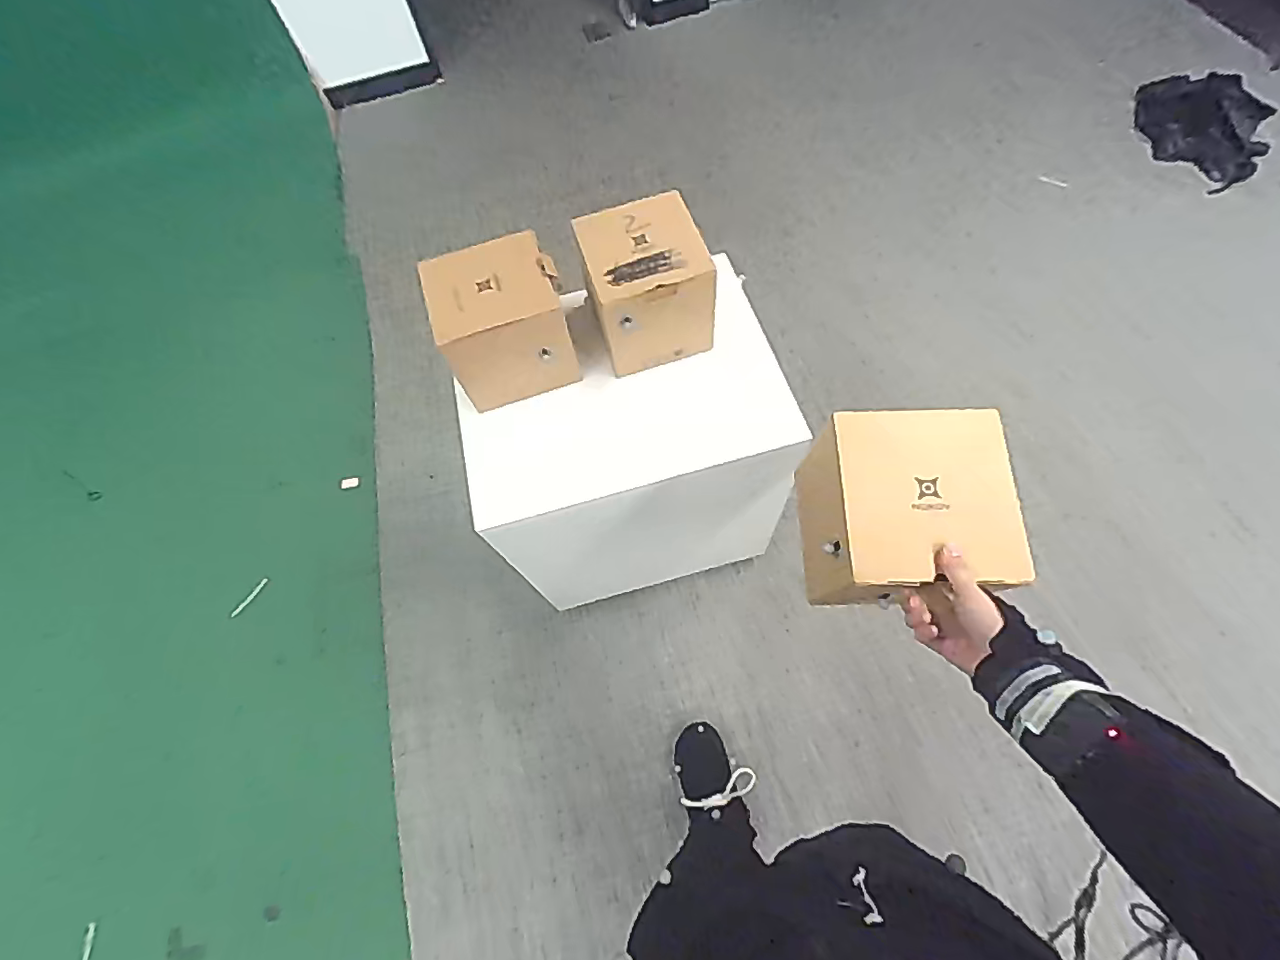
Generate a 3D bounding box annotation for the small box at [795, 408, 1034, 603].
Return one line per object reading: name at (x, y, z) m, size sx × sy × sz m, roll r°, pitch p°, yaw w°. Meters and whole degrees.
small box at (0.276, 0.037, 0.591) m, size 0.168 × 0.176 × 0.179 m, roll -1°, pitch 72°, yaw 2°

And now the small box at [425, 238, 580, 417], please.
small box at (-0.197, -0.224, 0.820) m, size 0.179 × 0.176 × 0.168 m, roll -20°, pitch 63°, yaw -4°
